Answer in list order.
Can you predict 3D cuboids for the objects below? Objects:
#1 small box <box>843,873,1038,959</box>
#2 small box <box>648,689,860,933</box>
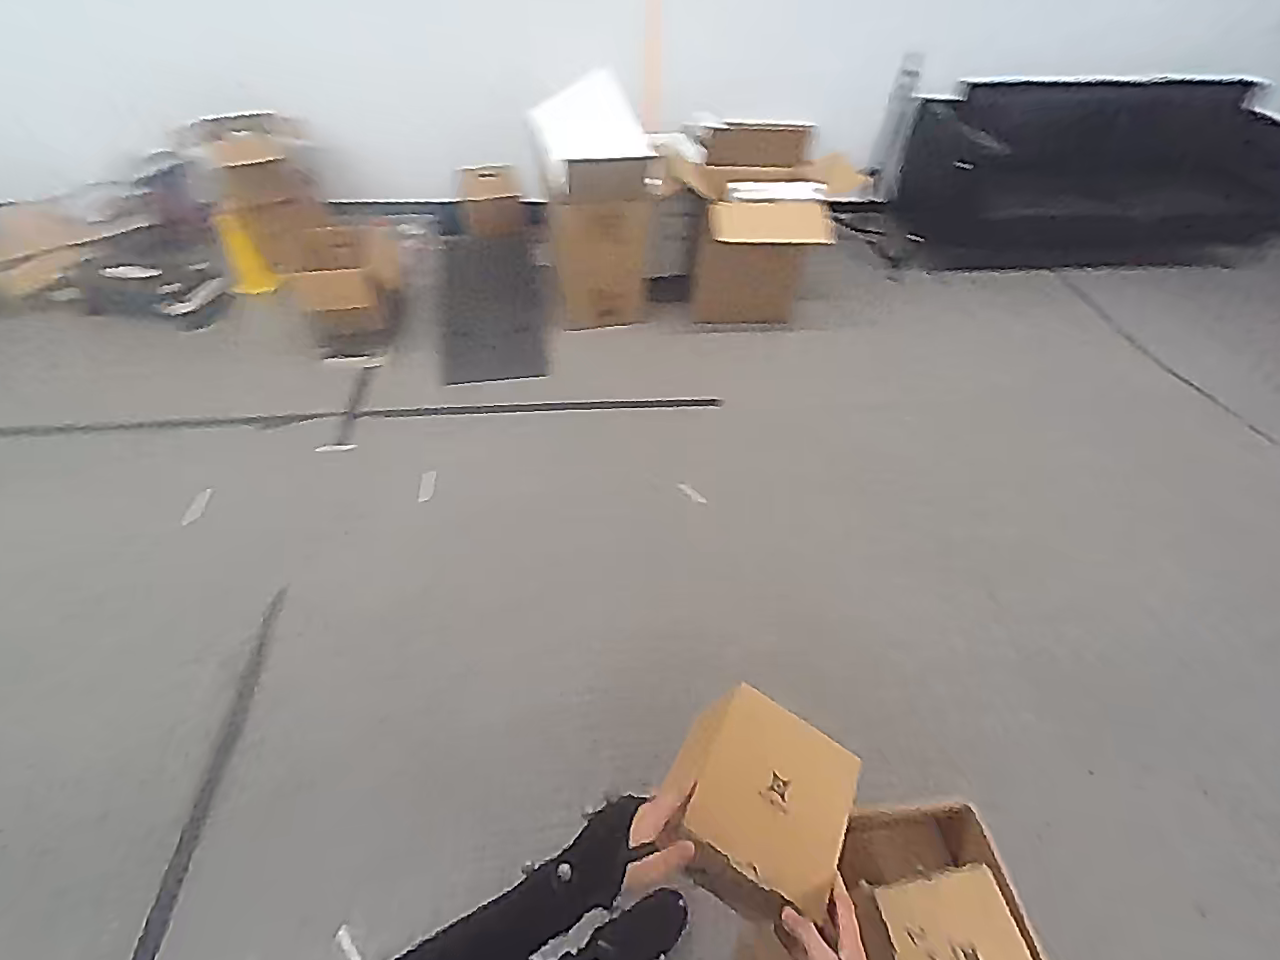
[{"bbox_3d":[0.410,0.654,0.736,0.179,0.176,0.168,-5,51,-8],"label":"small box"},{"bbox_3d":[0.129,0.390,0.646,0.168,0.176,0.179,31,51,6],"label":"small box"}]
